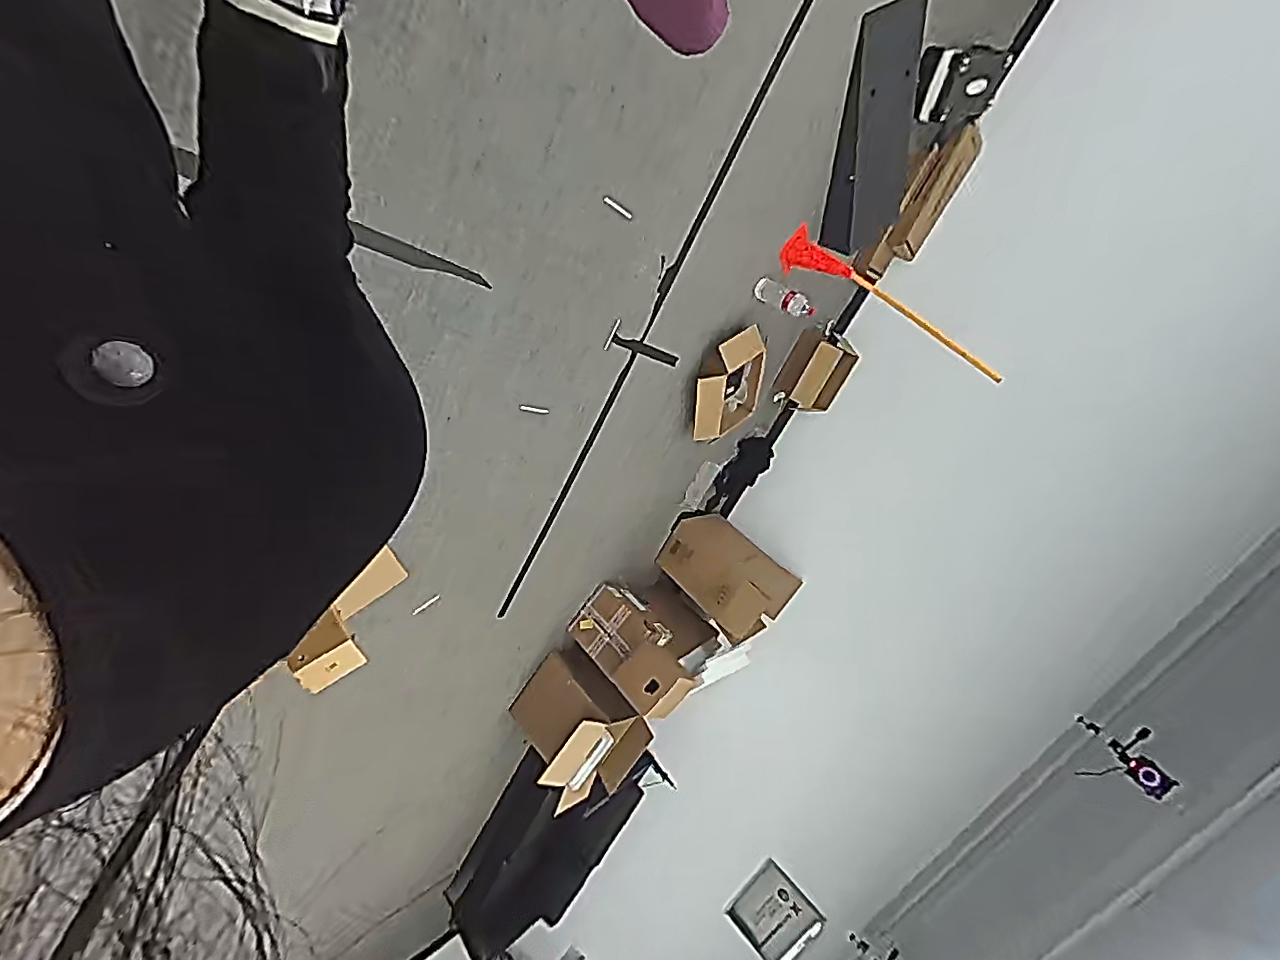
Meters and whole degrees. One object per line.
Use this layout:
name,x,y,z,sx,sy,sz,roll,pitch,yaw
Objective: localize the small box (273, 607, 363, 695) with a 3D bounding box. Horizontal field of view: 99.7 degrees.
small box,-1.030,0.541,1.731,0.179,0.176,0.168,-32,147,-27
